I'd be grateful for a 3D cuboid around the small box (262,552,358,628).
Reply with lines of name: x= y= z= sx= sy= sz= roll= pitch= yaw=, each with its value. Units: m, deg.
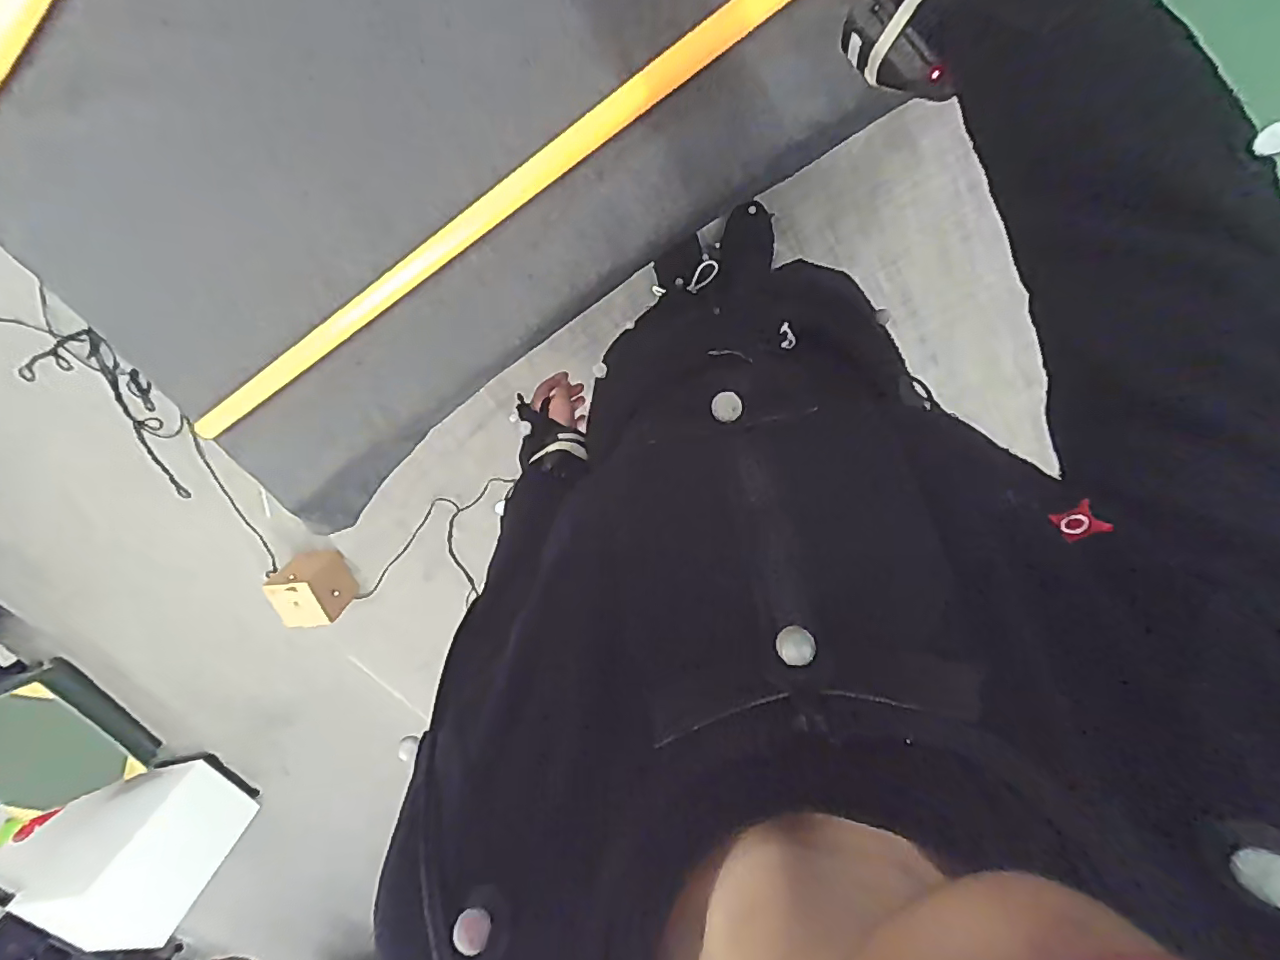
small box: x=-1.058 y=0.356 z=1.751 sx=0.168 sy=0.176 sz=0.179 roll=-7 pitch=118 yaw=12
